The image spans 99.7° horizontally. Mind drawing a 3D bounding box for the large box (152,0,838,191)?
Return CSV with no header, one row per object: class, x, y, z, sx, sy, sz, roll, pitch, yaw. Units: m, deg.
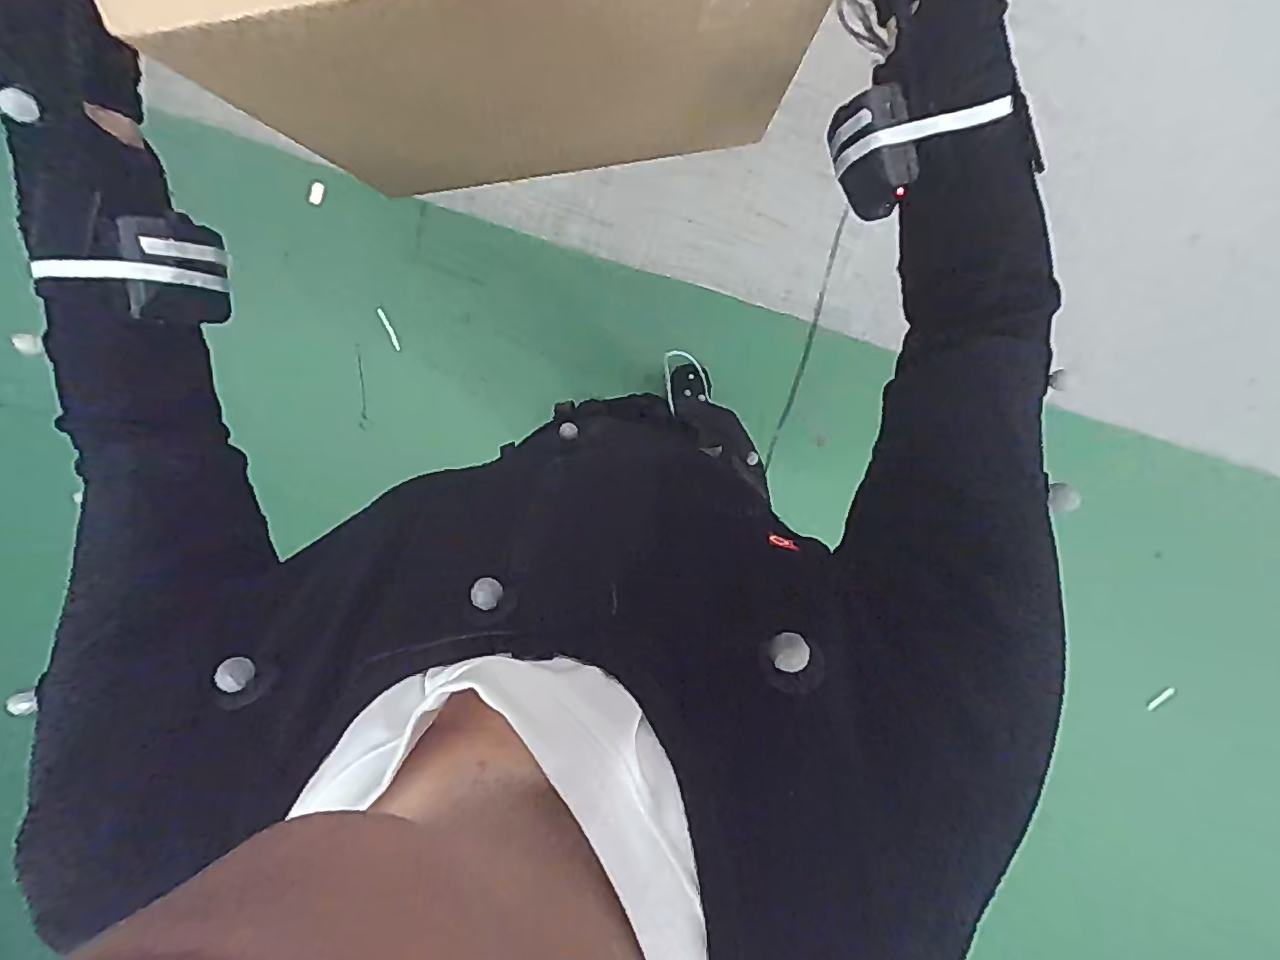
large box,-0.084,-0.447,0.397,0.408,0.320,0.320,-7,103,1
